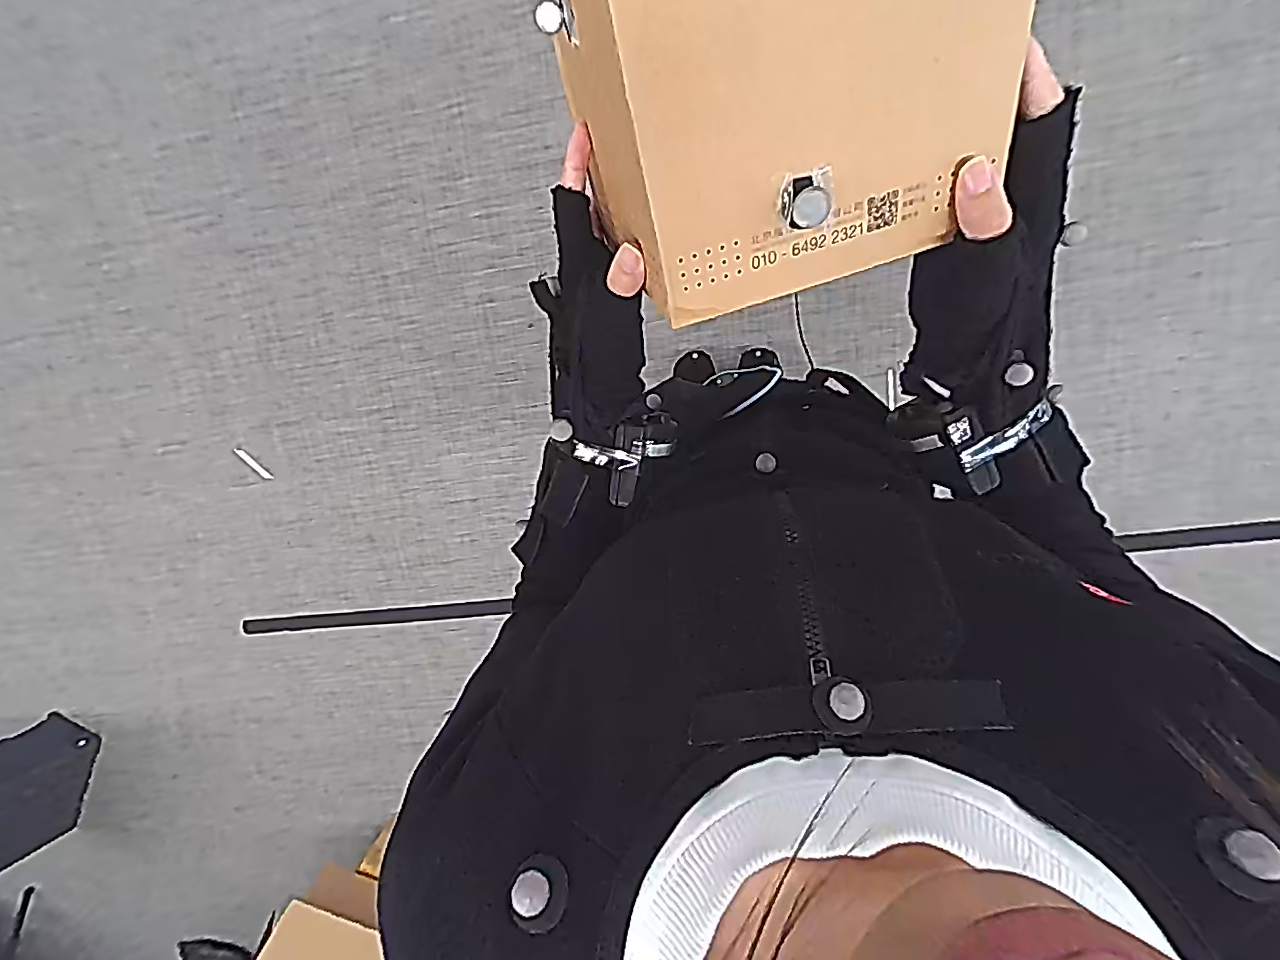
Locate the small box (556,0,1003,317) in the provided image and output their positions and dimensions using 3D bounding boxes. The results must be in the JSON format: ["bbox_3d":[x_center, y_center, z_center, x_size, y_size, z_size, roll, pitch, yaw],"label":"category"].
[{"bbox_3d":[0.056,-0.209,0.289,0.168,0.179,0.176,-19,129,-2],"label":"small box"}]
